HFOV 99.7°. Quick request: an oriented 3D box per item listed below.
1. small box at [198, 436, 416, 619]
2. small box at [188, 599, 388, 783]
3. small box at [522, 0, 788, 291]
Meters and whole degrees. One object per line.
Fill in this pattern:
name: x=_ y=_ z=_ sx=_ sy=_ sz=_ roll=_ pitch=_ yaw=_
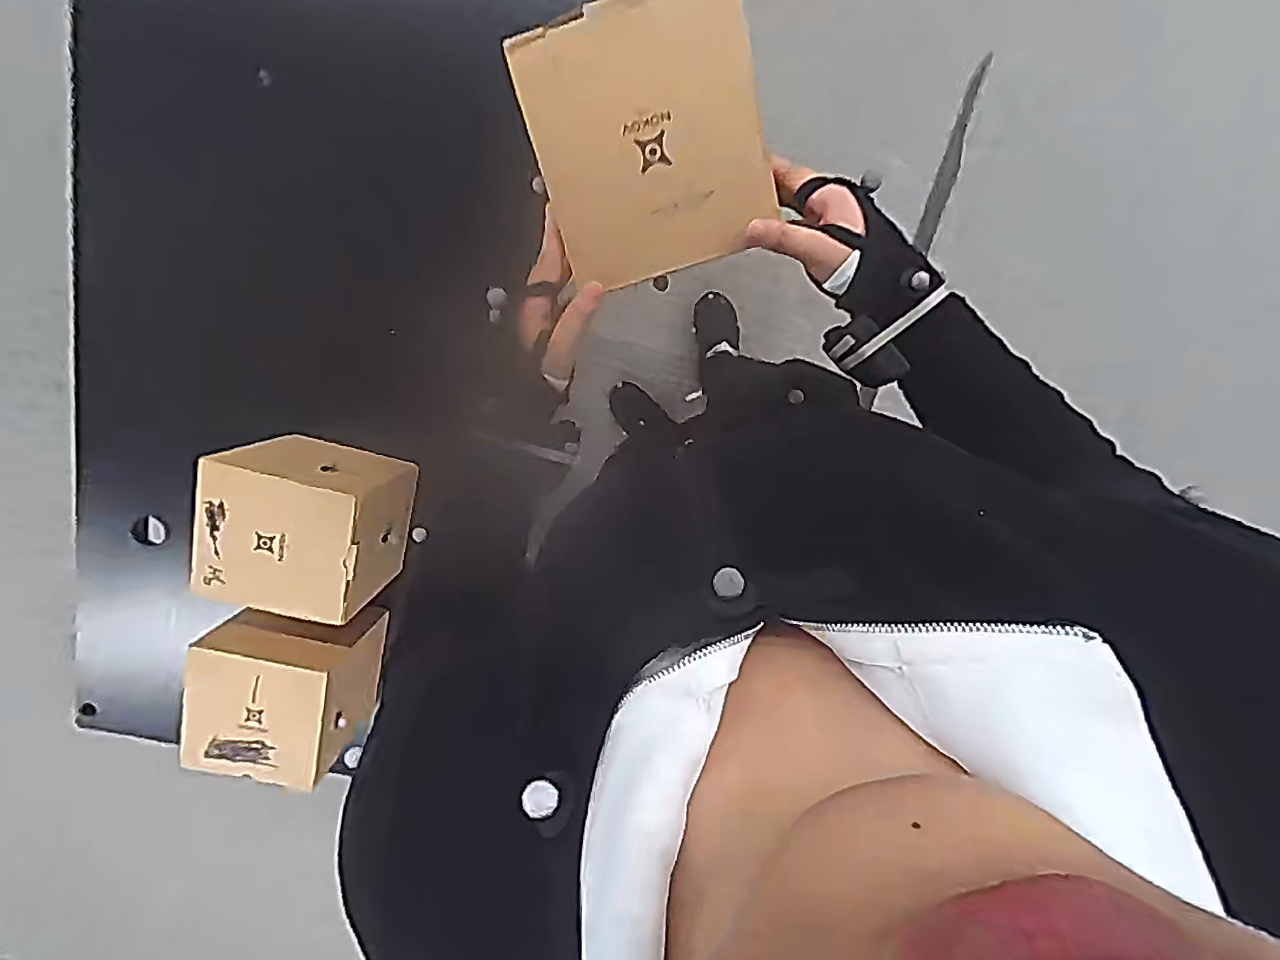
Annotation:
small box: x=-0.408 y=0.049 z=0.689 sx=0.179 sy=0.176 sz=0.168 roll=14 pitch=104 yaw=-4
small box: x=-0.469 y=0.268 z=0.742 sx=0.168 sy=0.176 sz=0.179 roll=13 pitch=103 yaw=-4
small box: x=0.014 y=-0.275 z=0.468 sx=0.168 sy=0.176 sz=0.179 roll=-14 pitch=112 yaw=5
